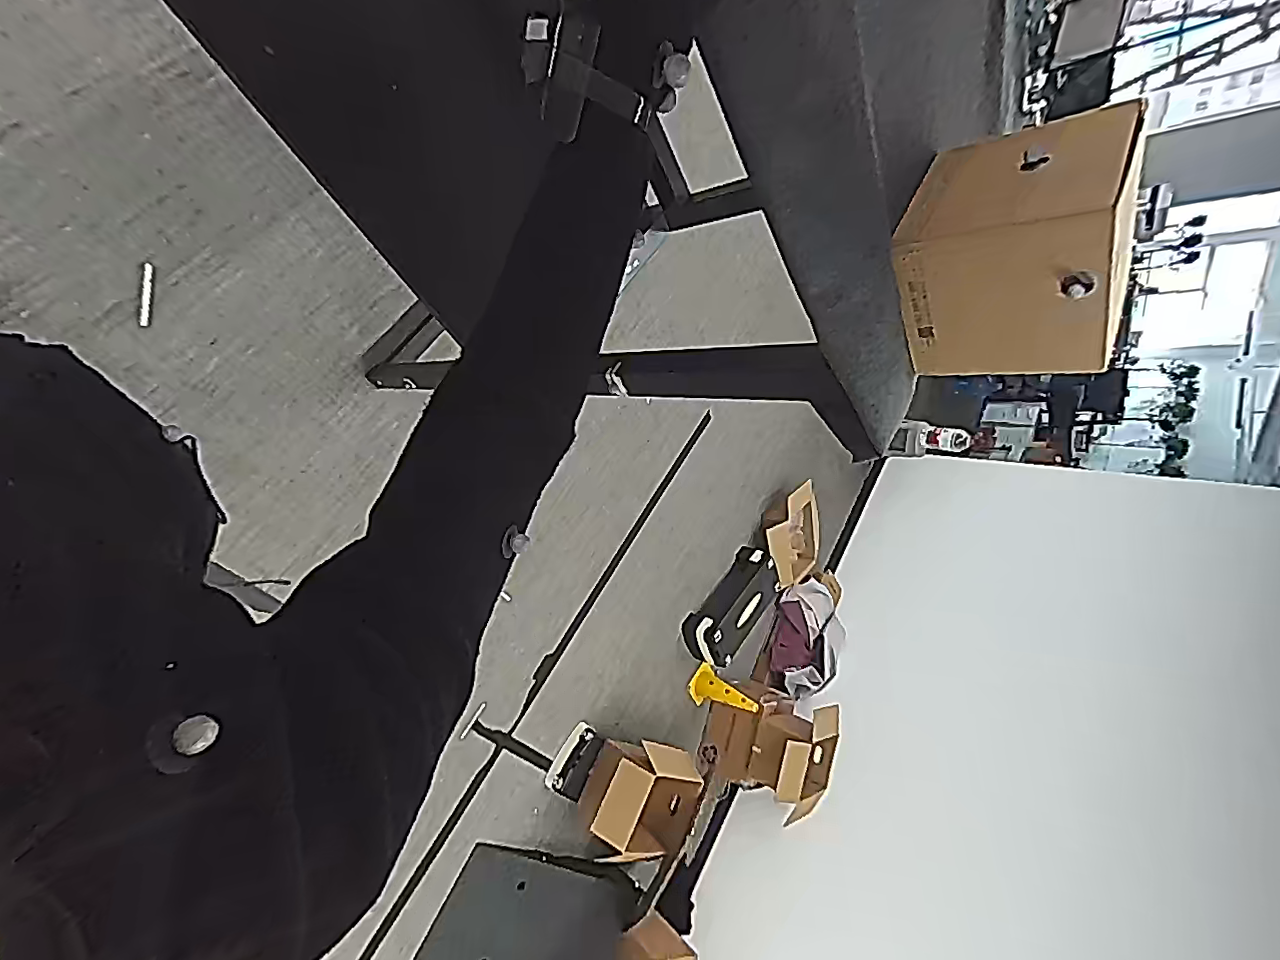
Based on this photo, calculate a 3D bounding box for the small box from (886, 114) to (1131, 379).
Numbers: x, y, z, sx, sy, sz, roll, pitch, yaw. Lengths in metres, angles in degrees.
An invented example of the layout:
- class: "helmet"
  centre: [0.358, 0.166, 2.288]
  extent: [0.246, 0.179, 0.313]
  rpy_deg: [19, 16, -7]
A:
- class: "small box"
  centre: [0.367, -0.221, 0.547]
  extent: [0.179, 0.176, 0.168]
  rpy_deg: [-58, 132, -24]
